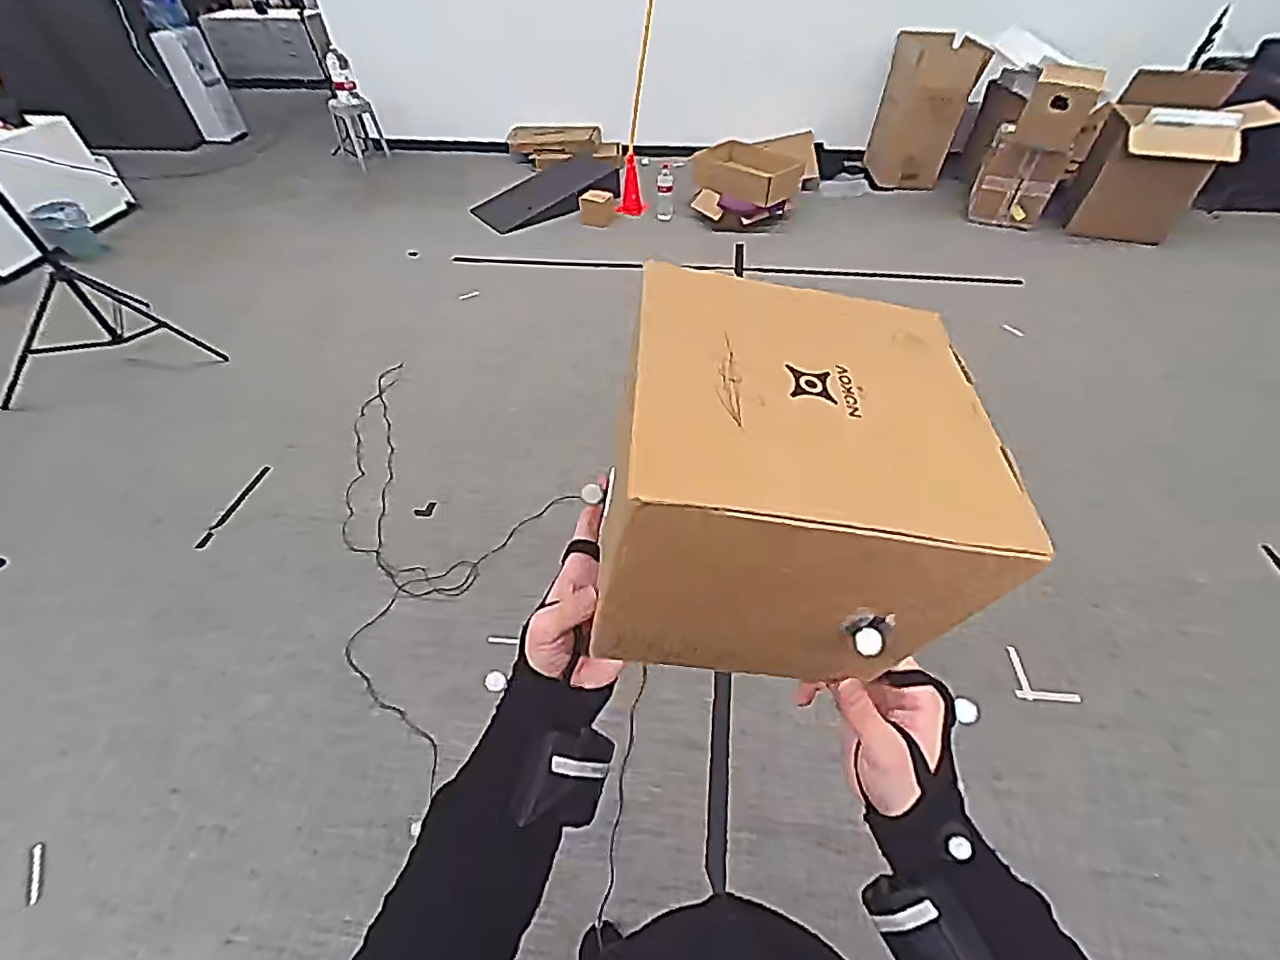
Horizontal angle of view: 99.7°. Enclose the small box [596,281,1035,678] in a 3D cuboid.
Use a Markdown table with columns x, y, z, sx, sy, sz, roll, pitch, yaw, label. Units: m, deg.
| x | y | z | sx | sy | sz | roll | pitch | yaw | label |
| --- | --- | --- | --- | --- | --- | --- | --- | --- | --- |
| 0.073 | 0.010 | 0.329 | 0.179 | 0.176 | 0.168 | 7 | 51 | -5 | small box |
